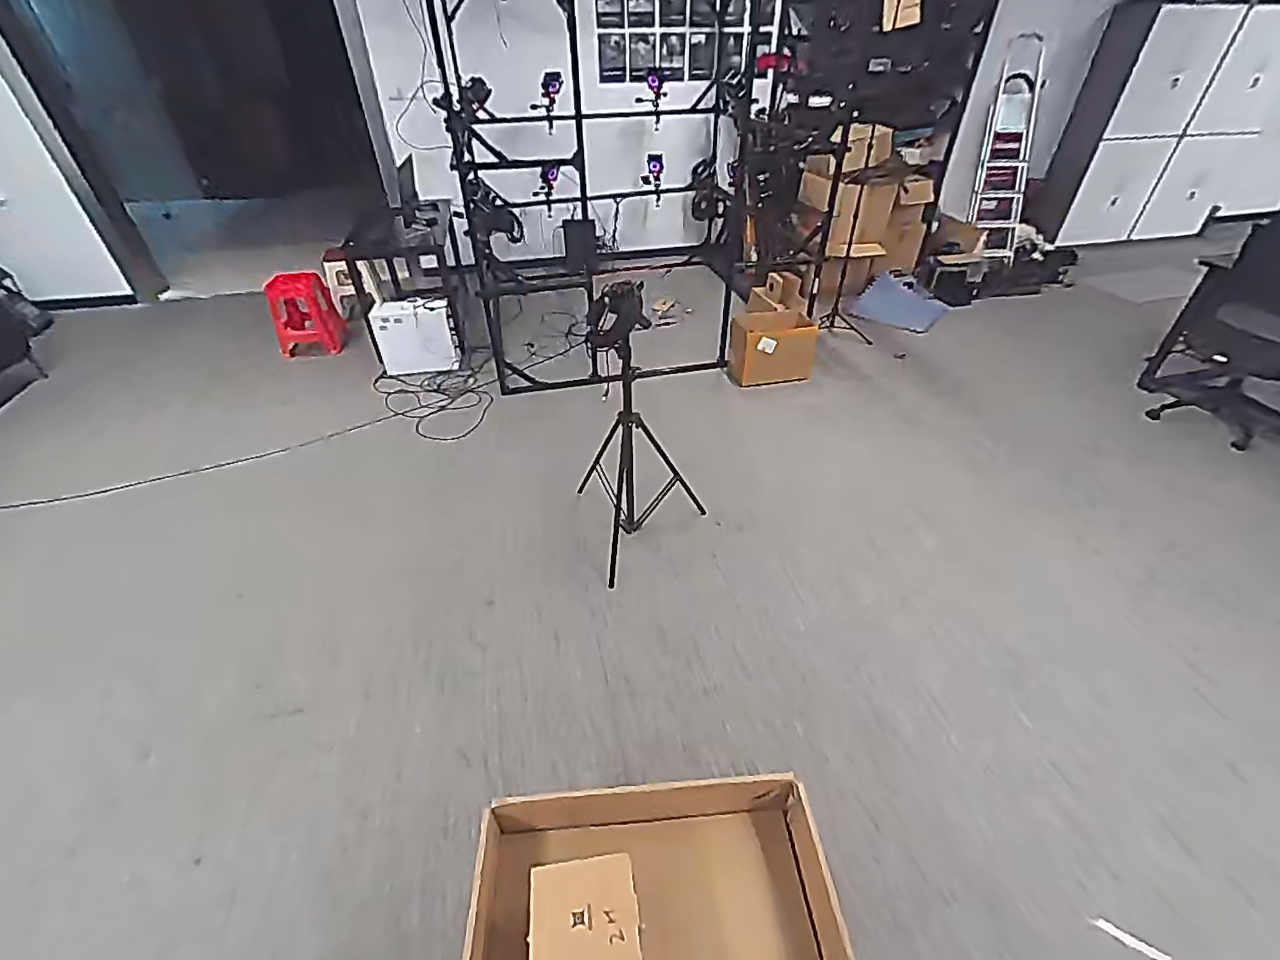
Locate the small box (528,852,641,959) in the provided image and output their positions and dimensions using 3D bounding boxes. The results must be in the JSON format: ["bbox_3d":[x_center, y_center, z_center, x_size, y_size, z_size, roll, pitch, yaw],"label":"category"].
[{"bbox_3d":[-0.091,0.766,0.917,0.179,0.176,0.168,-4,39,-6],"label":"small box"}]
